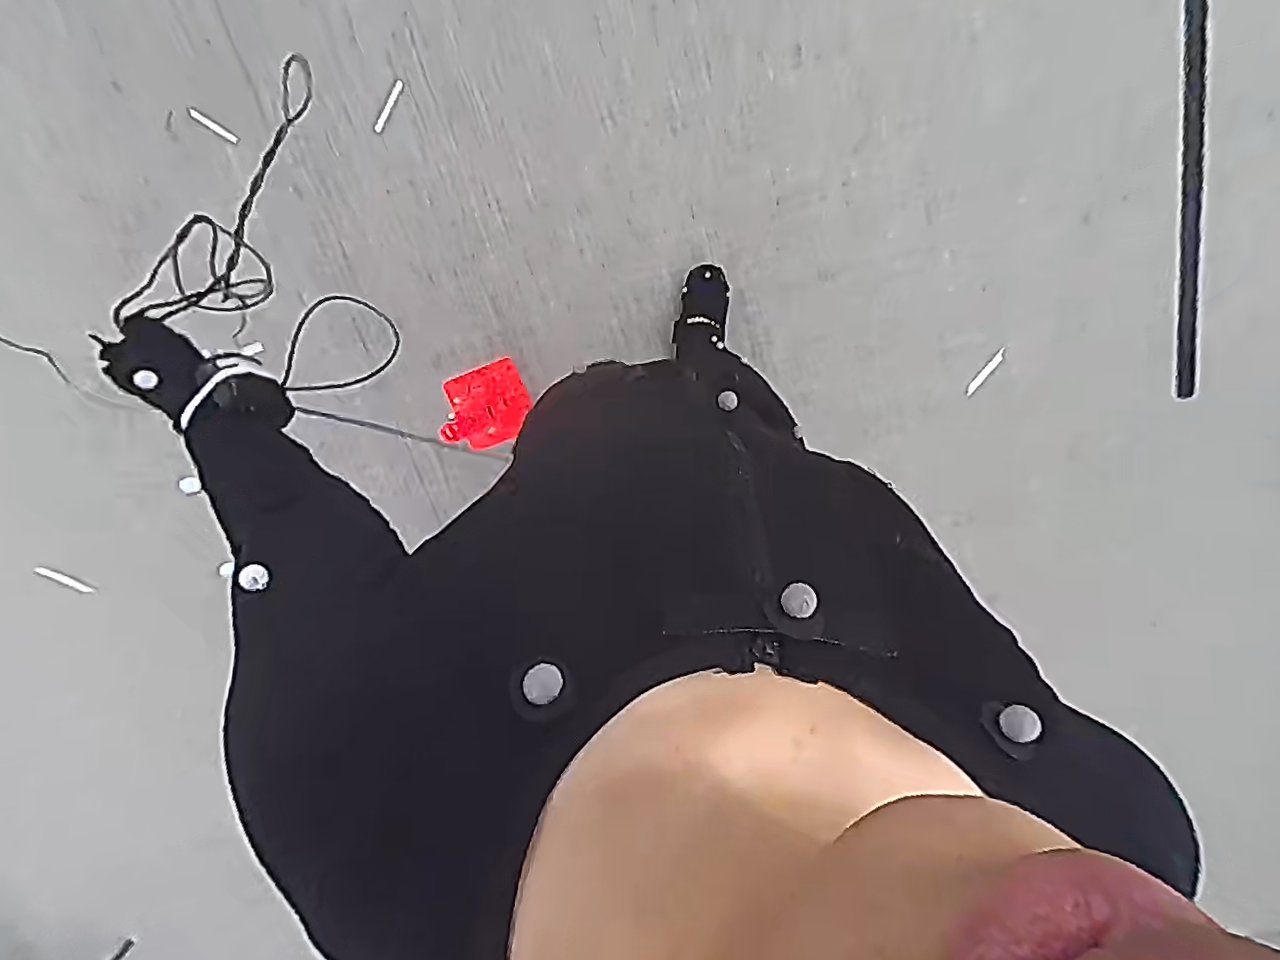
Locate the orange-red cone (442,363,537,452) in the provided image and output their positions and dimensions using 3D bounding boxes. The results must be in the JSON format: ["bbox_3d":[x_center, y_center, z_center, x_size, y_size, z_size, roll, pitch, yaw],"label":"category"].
[{"bbox_3d":[-0.381,-0.137,1.237,0.199,0.360,0.198,-20,107,3],"label":"orange-red cone"}]
